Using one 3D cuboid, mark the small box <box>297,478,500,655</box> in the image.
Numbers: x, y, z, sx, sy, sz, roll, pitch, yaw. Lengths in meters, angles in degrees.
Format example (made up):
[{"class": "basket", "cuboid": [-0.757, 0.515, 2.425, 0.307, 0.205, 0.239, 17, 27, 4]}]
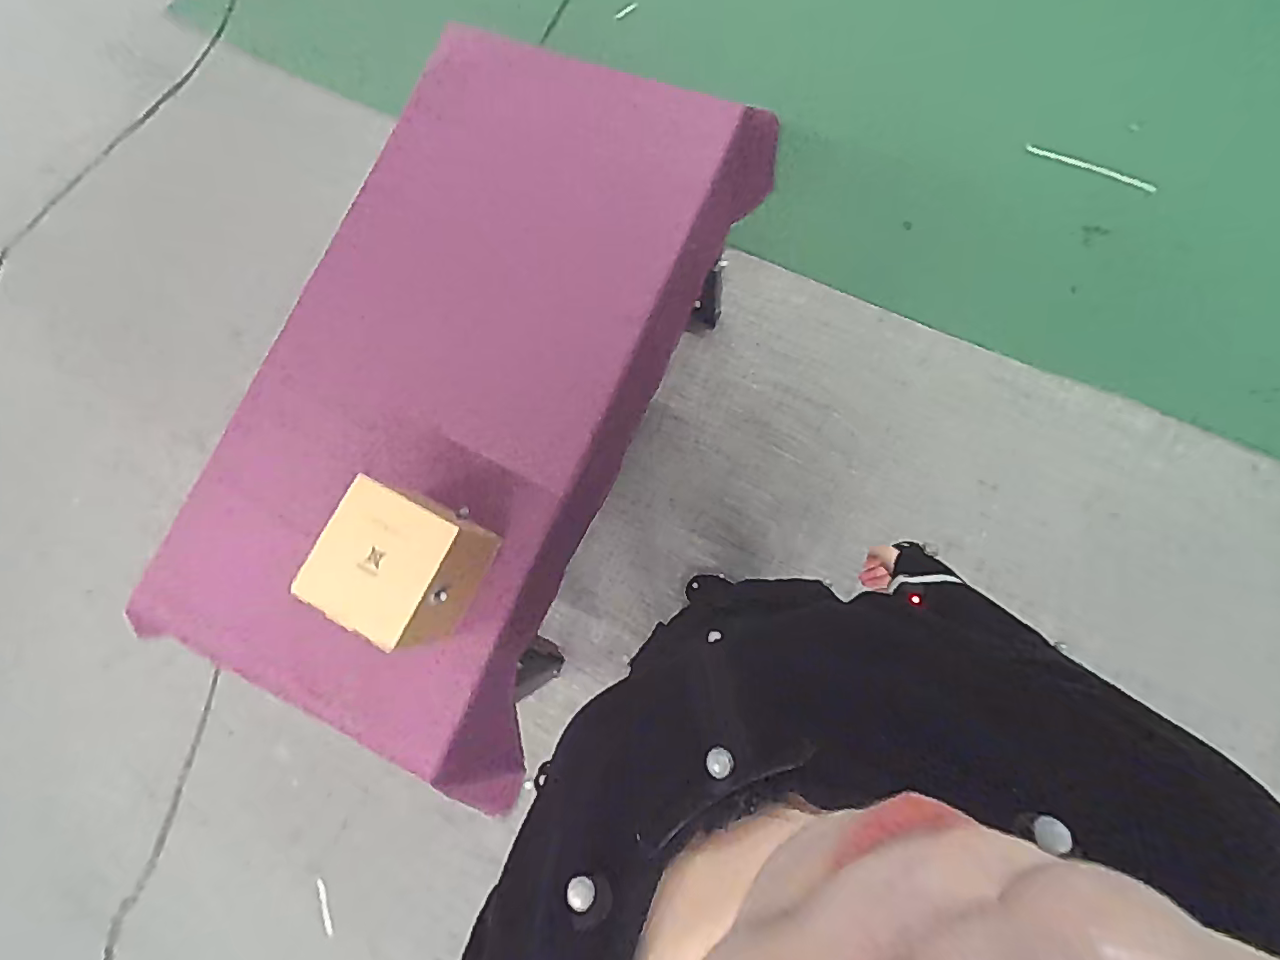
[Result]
[{"class": "small box", "cuboid": [-0.326, 0.122, 0.770, 0.168, 0.176, 0.179, 26, 83, 10]}]
